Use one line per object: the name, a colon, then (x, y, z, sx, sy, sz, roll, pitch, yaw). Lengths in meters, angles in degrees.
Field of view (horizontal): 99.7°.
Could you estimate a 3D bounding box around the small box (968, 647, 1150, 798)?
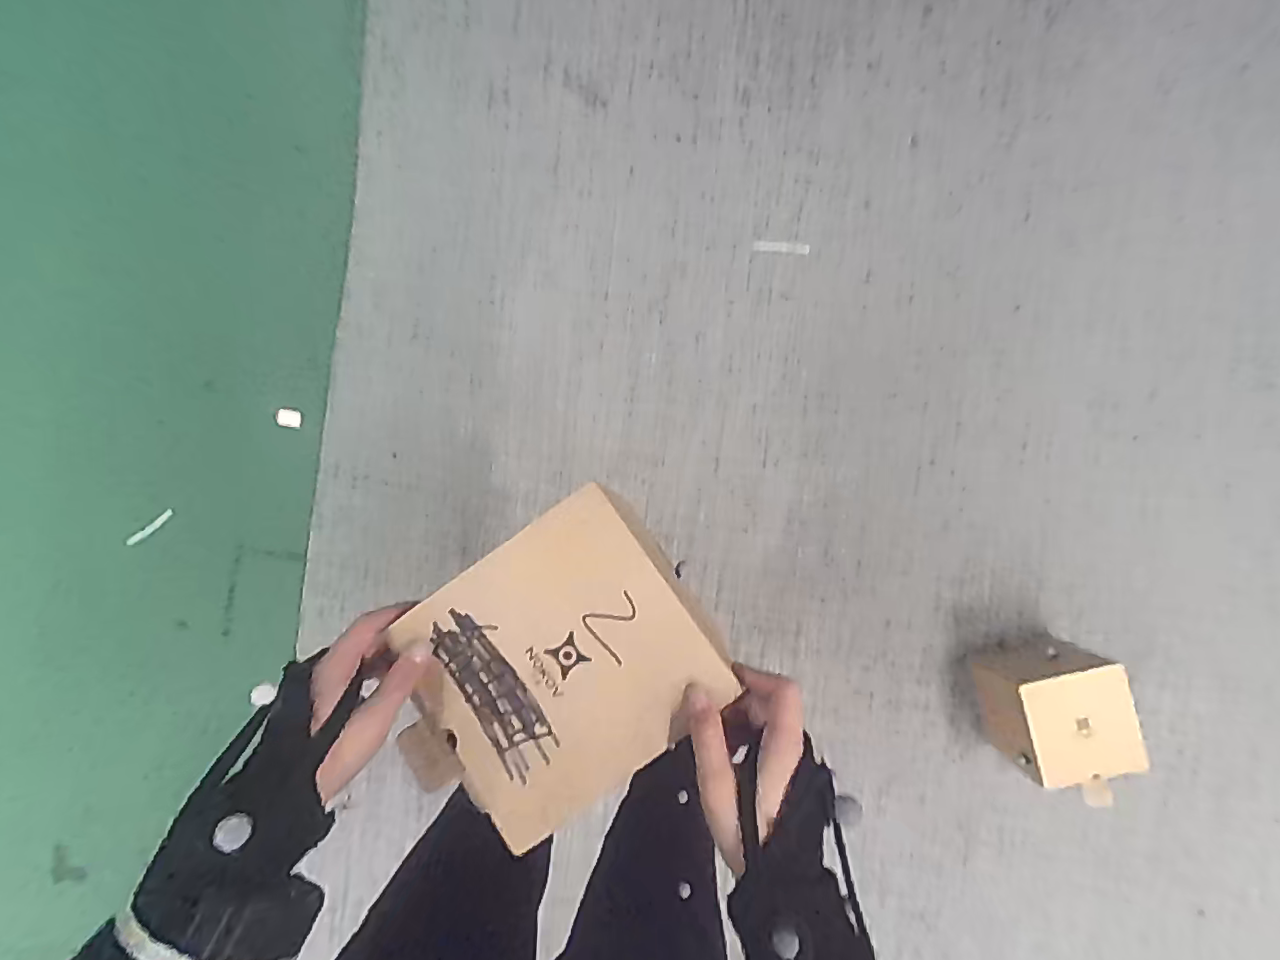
small box: (0.703, 0.402, 0.931, 0.168, 0.176, 0.179, -14, 89, 3)
